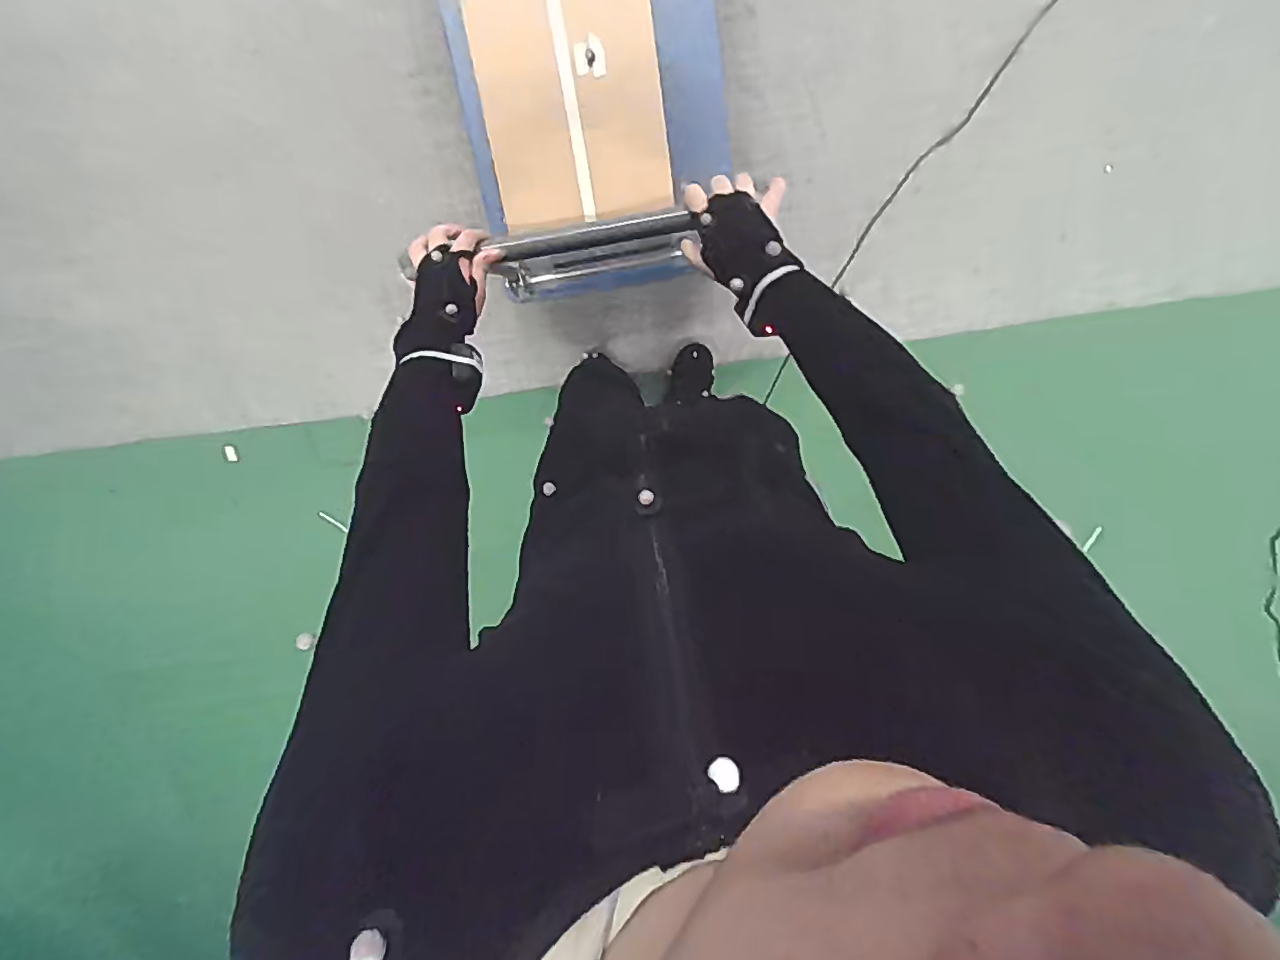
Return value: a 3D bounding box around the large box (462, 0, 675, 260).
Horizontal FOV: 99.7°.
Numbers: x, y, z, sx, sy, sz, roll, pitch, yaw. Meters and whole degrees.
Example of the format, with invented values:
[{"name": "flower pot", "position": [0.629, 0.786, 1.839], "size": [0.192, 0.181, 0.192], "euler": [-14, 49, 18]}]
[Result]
[{"name": "large box", "position": [-0.109, -0.693, 1.094], "size": [0.320, 0.320, 0.408], "euler": [-8, 107, 5]}]
